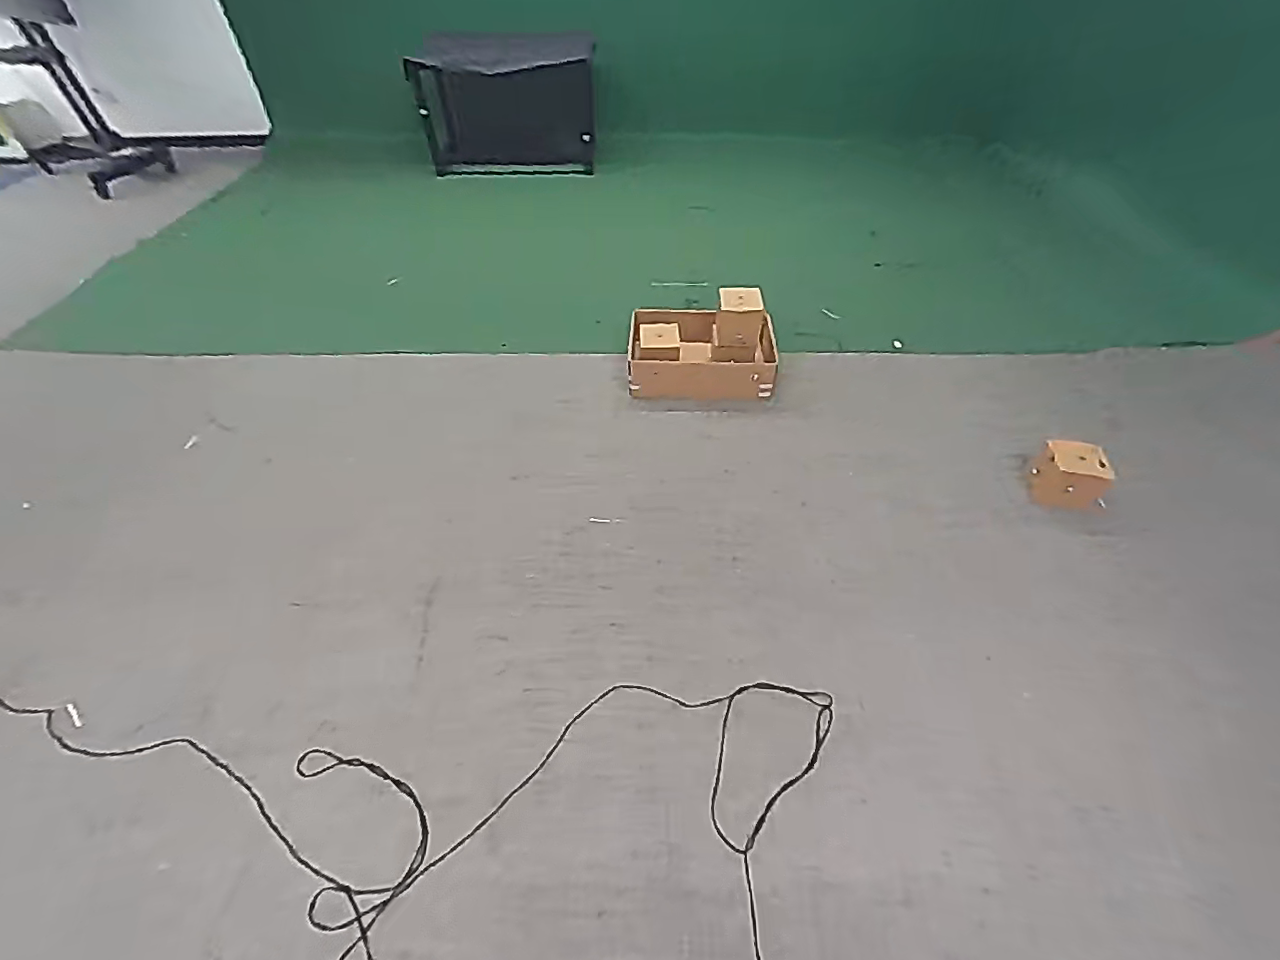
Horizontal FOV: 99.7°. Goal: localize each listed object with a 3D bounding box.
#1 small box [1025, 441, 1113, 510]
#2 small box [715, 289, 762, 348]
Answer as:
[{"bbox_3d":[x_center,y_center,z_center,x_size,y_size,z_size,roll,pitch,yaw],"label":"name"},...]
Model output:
[{"bbox_3d":[1.485,-0.014,1.892,0.179,0.176,0.168,8,48,10],"label":"small box"},{"bbox_3d":[0.396,-0.657,2.199,0.168,0.176,0.179,0,49,3],"label":"small box"}]
